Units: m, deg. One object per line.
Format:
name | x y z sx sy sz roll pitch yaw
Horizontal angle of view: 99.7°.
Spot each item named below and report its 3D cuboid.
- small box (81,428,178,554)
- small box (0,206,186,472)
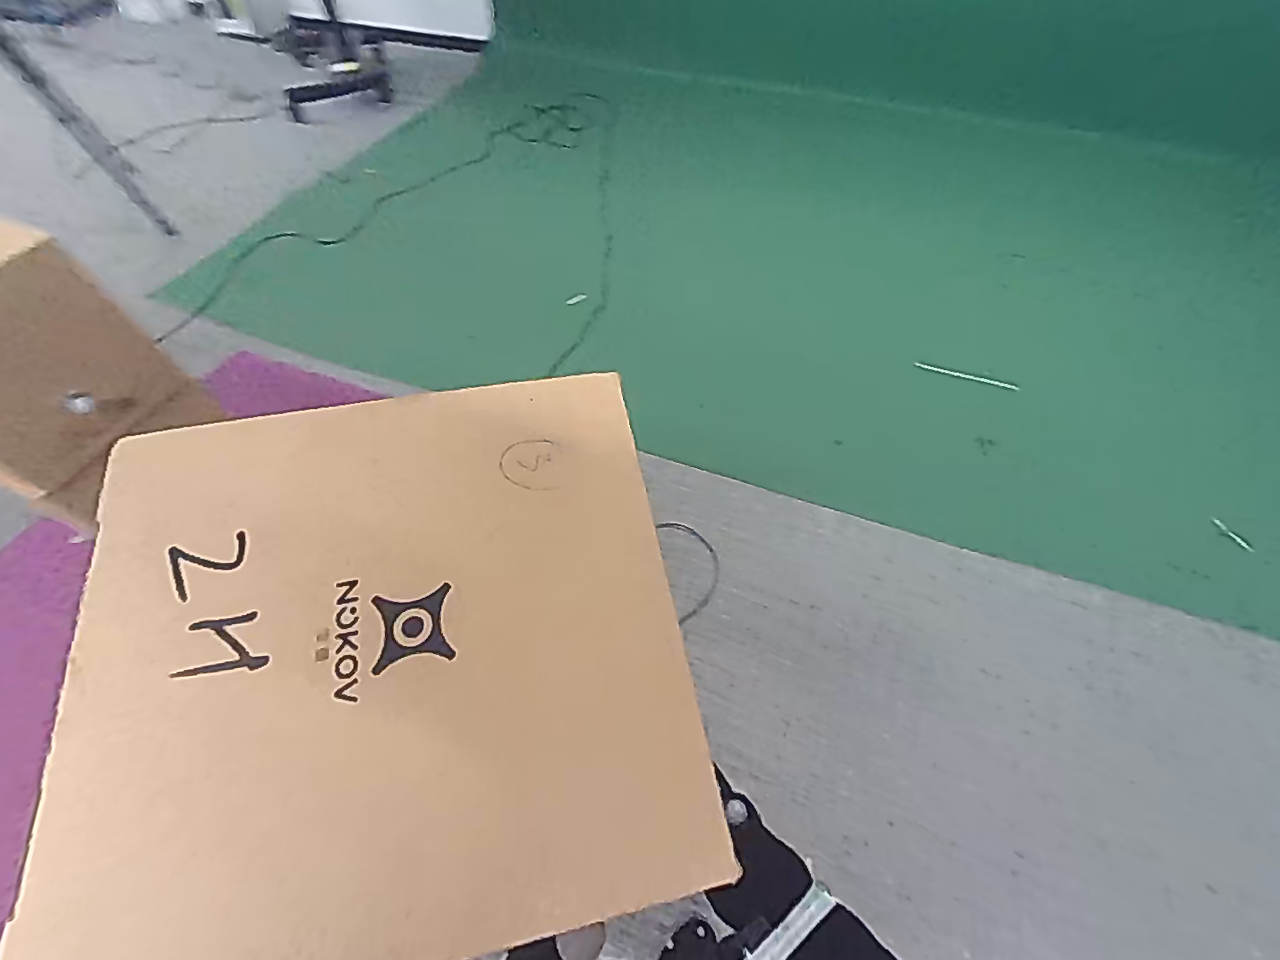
small box | -0.593 0.053 0.767 0.179 0.176 0.168 19 58 14
small box | -0.592 -0.131 0.494 0.179 0.176 0.168 19 59 12
